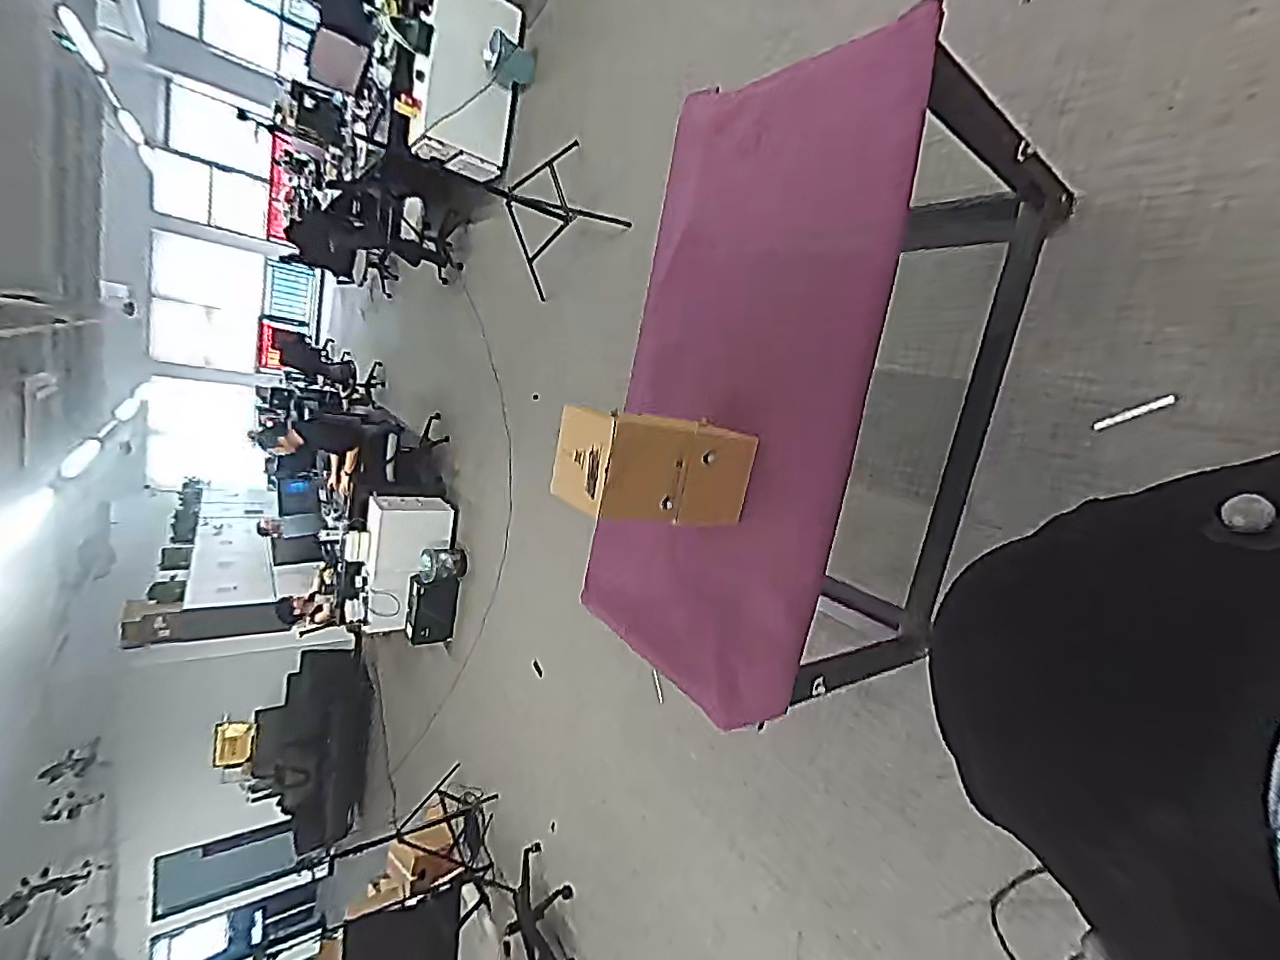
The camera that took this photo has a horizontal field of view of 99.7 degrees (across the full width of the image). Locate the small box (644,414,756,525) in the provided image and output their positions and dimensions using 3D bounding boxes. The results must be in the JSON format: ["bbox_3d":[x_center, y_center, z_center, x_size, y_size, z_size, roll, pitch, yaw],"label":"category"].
[{"bbox_3d":[0.103,-0.021,1.060,0.168,0.176,0.179,26,109,51],"label":"small box"}]

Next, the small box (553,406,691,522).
[{"bbox_3d":[-0.033,-0.030,0.967,0.179,0.176,0.168,24,106,52],"label":"small box"}]
